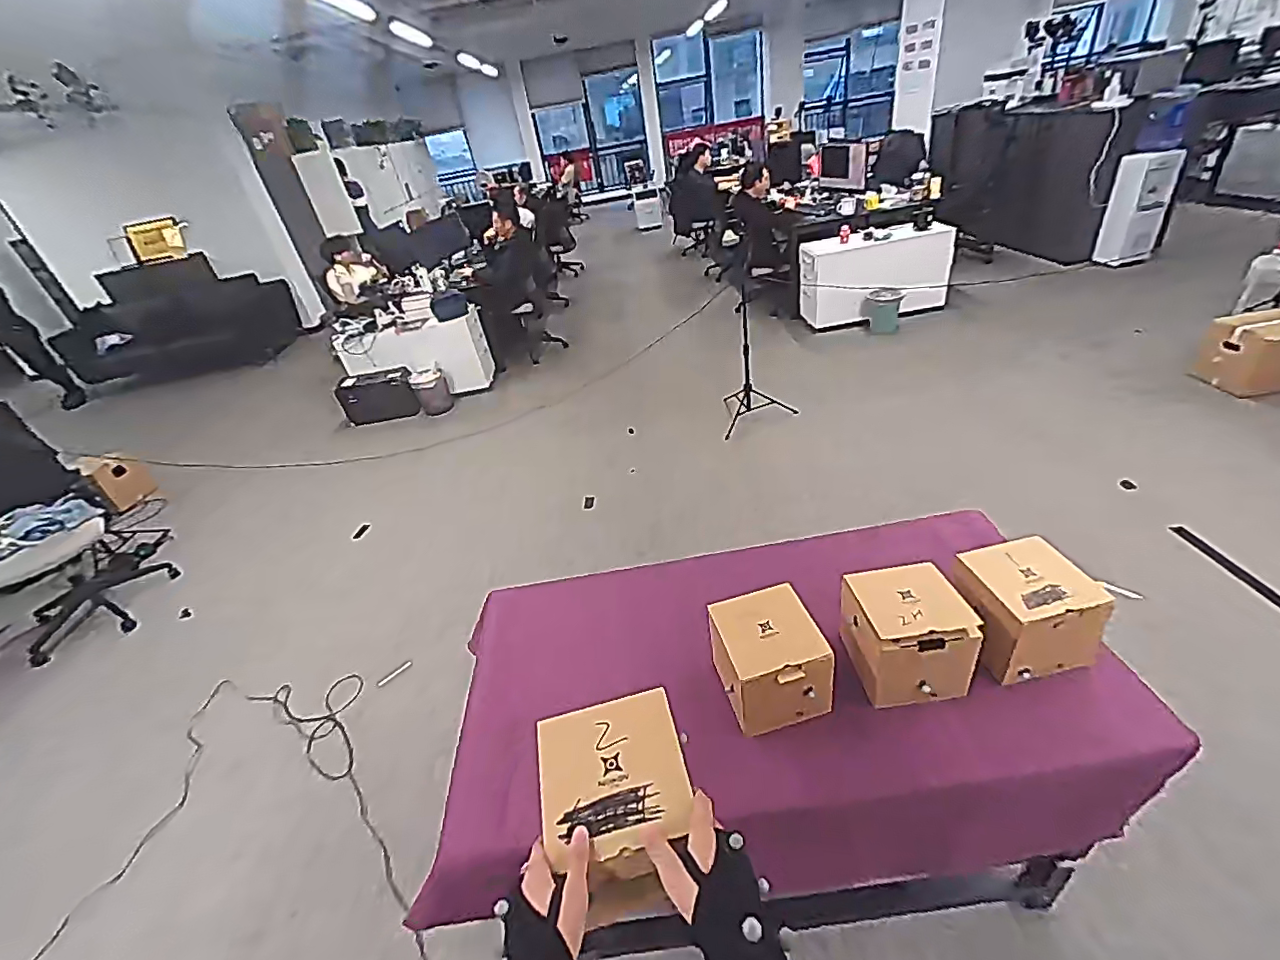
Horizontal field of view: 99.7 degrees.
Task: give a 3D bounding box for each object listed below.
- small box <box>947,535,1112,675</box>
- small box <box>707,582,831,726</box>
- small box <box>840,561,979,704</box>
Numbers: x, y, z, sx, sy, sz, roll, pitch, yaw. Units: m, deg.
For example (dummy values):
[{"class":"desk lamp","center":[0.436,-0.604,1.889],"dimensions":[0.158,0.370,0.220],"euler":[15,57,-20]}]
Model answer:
[{"class":"small box","center":[0.691,0.232,0.988],"dimensions":[0.168,0.176,0.179],"euler":[-13,33,-2]},{"class":"small box","center":[0.232,0.322,0.990],"dimensions":[0.168,0.176,0.179],"euler":[-14,34,-5]},{"class":"small box","center":[0.475,0.276,0.985],"dimensions":[0.168,0.176,0.179],"euler":[-10,34,3]}]
